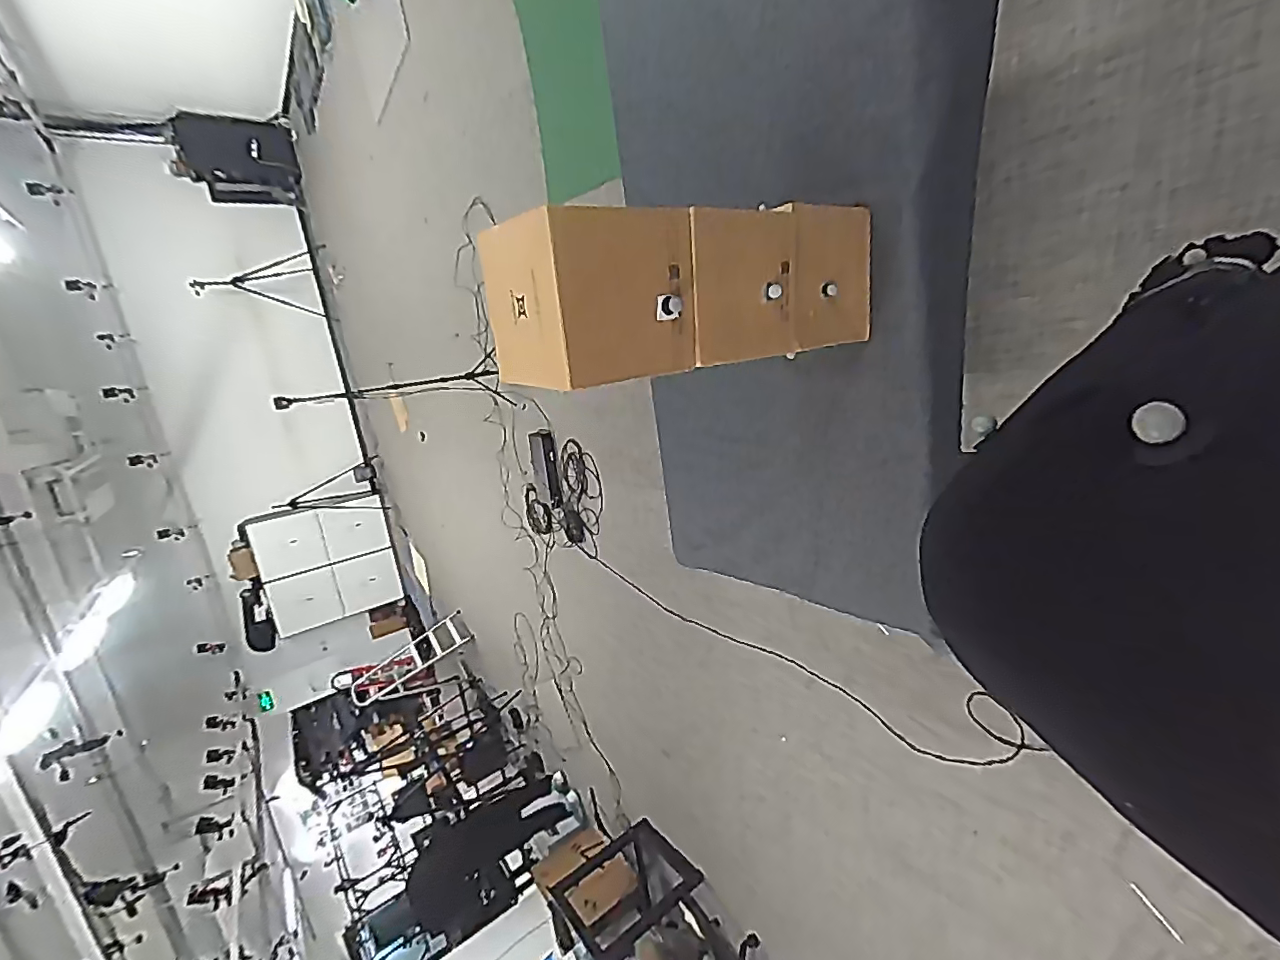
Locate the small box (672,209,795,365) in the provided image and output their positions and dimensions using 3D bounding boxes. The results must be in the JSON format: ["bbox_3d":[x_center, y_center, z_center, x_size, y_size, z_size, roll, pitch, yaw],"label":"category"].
[{"bbox_3d":[0.078,-0.239,0.700,0.179,0.176,0.168,16,117,55],"label":"small box"}]

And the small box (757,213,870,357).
[{"bbox_3d":[0.214,-0.278,0.785,0.168,0.176,0.179,15,116,53],"label":"small box"}]

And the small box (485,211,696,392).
[{"bbox_3d":[-0.055,-0.200,0.616,0.179,0.176,0.168,18,120,52],"label":"small box"}]
